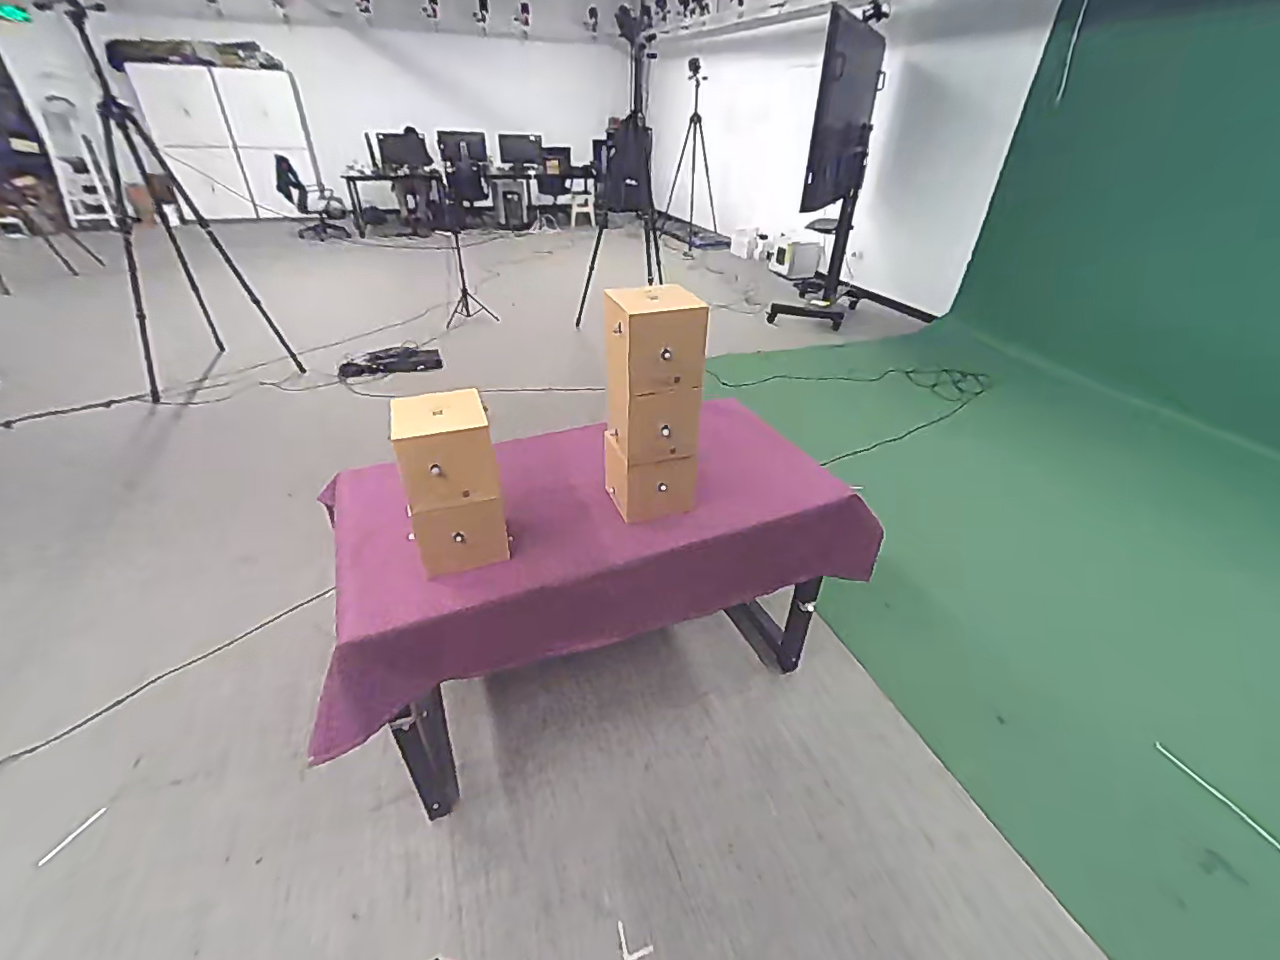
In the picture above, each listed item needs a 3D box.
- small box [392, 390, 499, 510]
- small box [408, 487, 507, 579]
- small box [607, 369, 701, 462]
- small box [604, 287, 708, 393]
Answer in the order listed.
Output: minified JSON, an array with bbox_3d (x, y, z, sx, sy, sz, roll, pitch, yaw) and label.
[{"bbox_3d":[-0.378,-0.055,1.057,0.168,0.176,0.179,-11,35,-18],"label":"small box"},{"bbox_3d":[-0.384,0.082,1.145,0.179,0.176,0.168,-12,36,-19],"label":"small box"},{"bbox_3d":[0.026,-0.151,1.214,0.168,0.176,0.179,-9,36,-16],"label":"small box"},{"bbox_3d":[0.028,-0.287,1.120,0.168,0.176,0.179,-10,35,-17],"label":"small box"}]
